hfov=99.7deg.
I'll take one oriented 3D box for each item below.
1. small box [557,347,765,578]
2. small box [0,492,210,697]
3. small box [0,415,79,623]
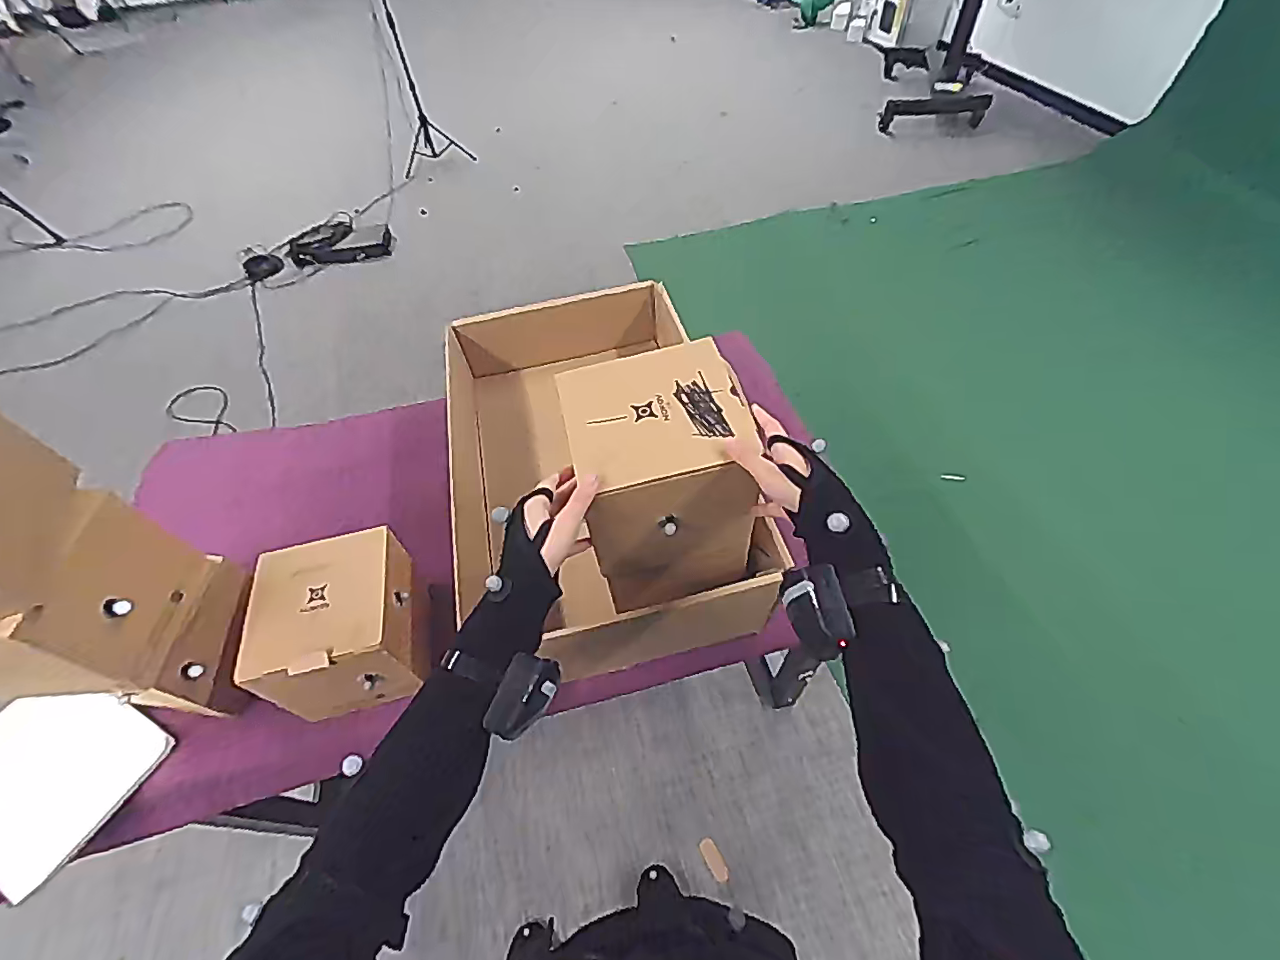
[{"bbox_3d":[0.018,-0.015,0.593,0.179,0.176,0.168,-13,54,-4],"label":"small box"},{"bbox_3d":[-0.635,0.130,0.592,0.179,0.176,0.168,-3,53,2],"label":"small box"},{"bbox_3d":[-0.650,0.030,0.462,0.168,0.176,0.179,-21,55,-11],"label":"small box"}]
